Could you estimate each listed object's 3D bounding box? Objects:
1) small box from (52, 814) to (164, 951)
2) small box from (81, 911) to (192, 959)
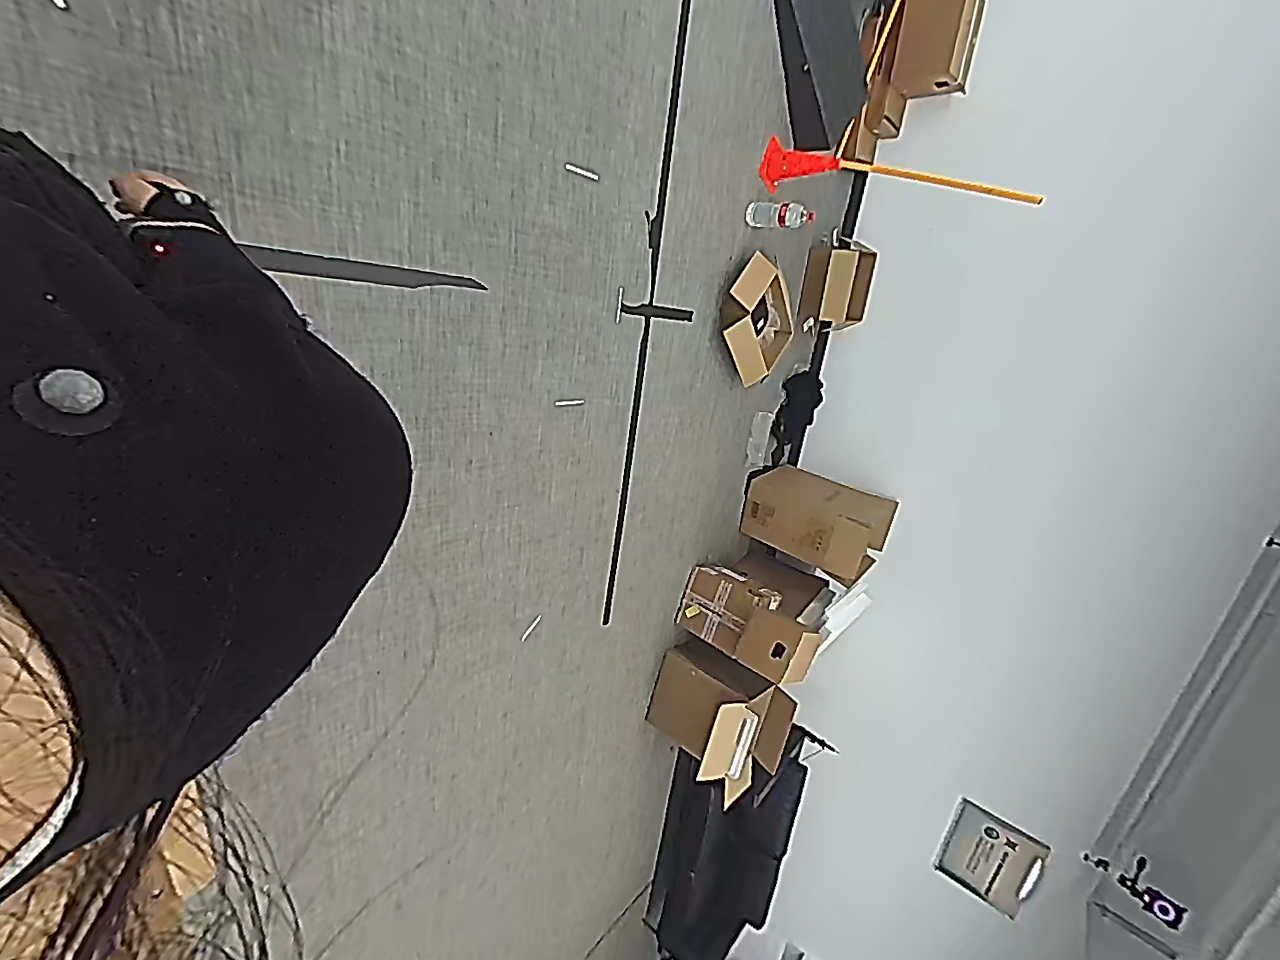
[{"bbox_3d":[-1.282,0.953,1.305,0.168,0.176,0.179,-11,117,-49],"label":"small box"},{"bbox_3d":[-1.034,1.059,1.116,0.168,0.176,0.179,-15,119,-49],"label":"small box"}]
